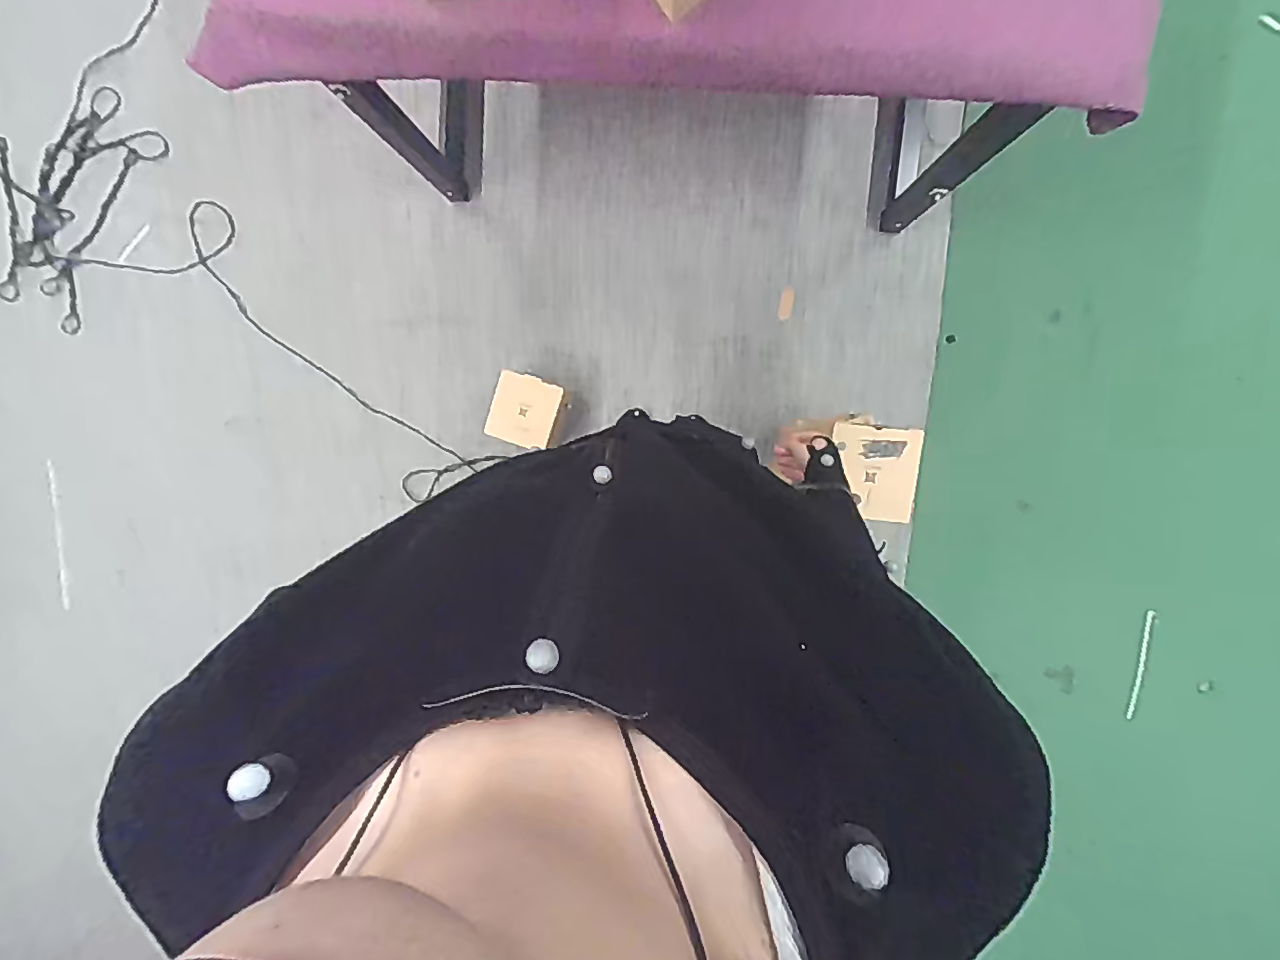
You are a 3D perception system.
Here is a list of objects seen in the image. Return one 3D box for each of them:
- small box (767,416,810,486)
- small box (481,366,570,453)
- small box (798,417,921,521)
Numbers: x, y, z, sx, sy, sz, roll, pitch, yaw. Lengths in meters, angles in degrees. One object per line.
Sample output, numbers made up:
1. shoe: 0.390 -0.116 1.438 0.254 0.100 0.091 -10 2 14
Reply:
1. small box: 0.440 -0.065 1.396 0.179 0.176 0.168 15 98 2
2. small box: -0.292 -0.186 1.421 0.168 0.176 0.179 20 99 1
3. small box: 0.422 -0.030 1.069 0.168 0.176 0.179 6 99 2
